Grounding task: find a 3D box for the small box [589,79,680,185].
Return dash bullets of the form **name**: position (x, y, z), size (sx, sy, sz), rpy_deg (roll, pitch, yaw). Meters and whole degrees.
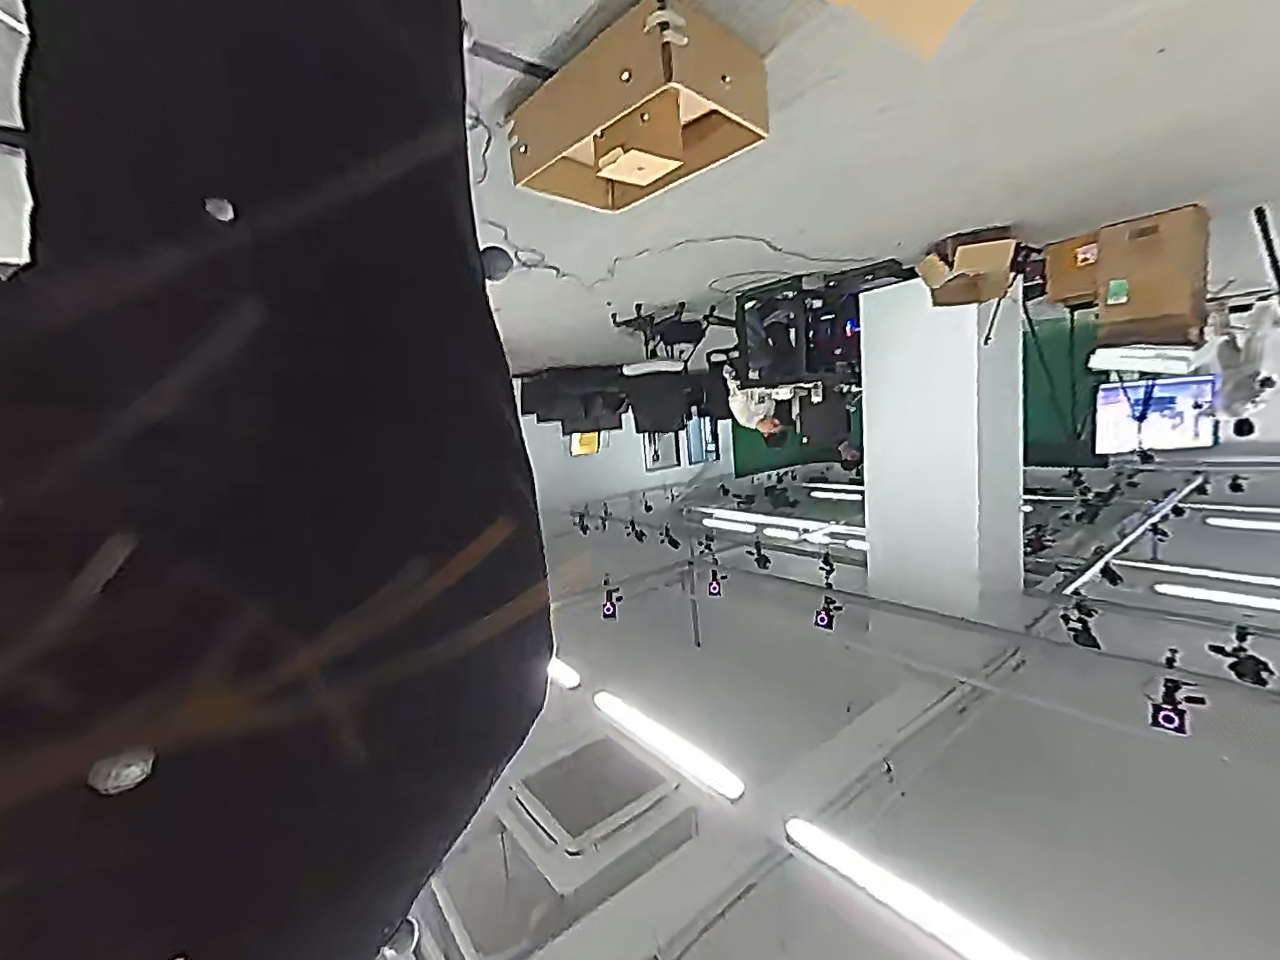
- **small box**: position (-0.018, -0.907, 1.417), size (0.179, 0.176, 0.168), rpy_deg (-11, -170, -38)
